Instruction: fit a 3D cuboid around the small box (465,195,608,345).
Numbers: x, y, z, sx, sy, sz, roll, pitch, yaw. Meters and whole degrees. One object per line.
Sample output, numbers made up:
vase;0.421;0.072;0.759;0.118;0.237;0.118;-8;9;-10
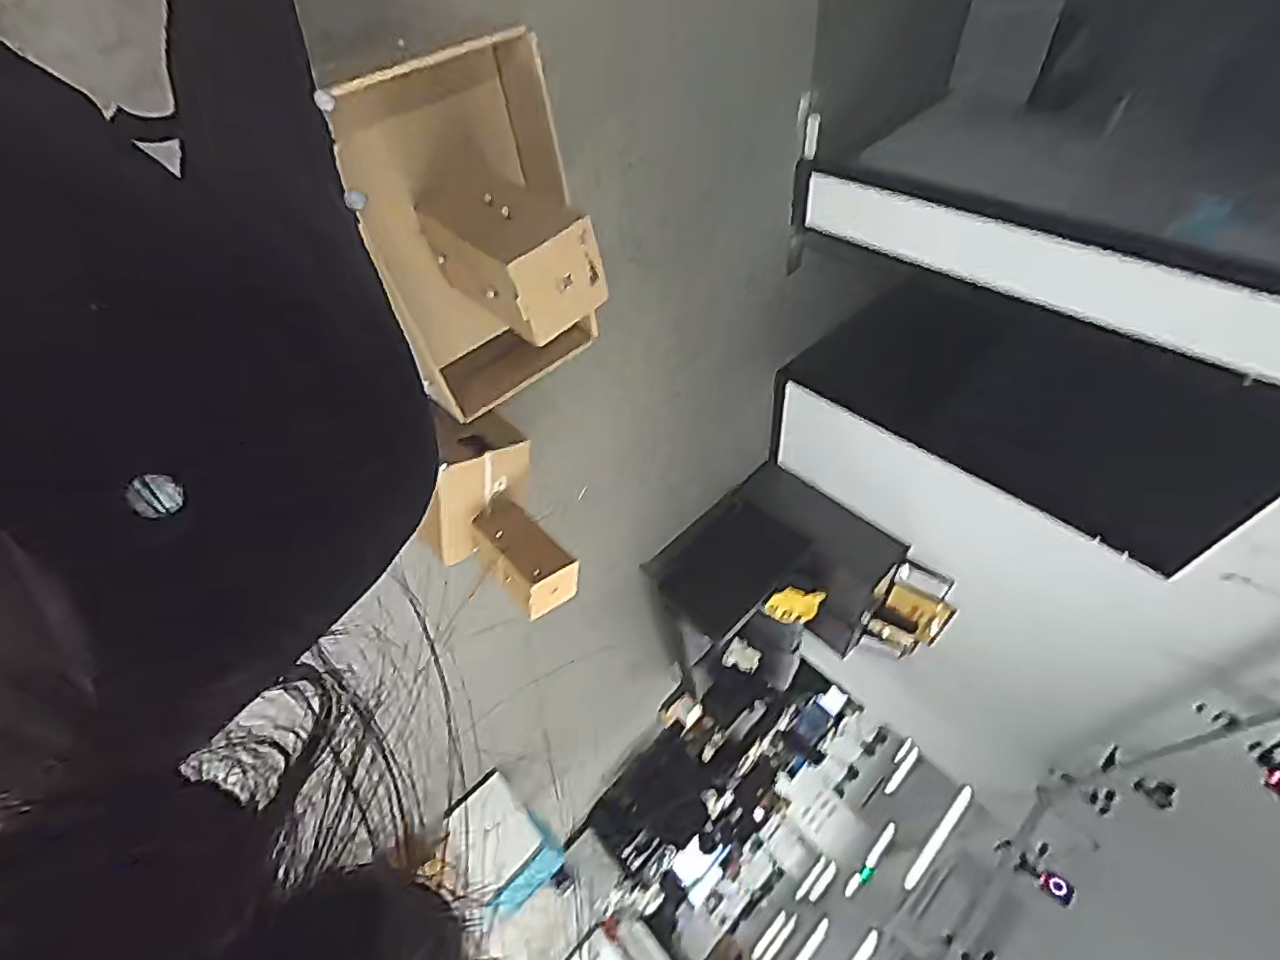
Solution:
small box;-0.188;-0.379;0.971;0.179;0.176;0.168;-39;146;-18

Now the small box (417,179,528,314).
small box;-0.297;-0.463;1.060;0.179;0.176;0.168;-38;145;-21

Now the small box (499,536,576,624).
small box;-0.322;0.305;1.692;0.179;0.176;0.168;-26;140;-36
